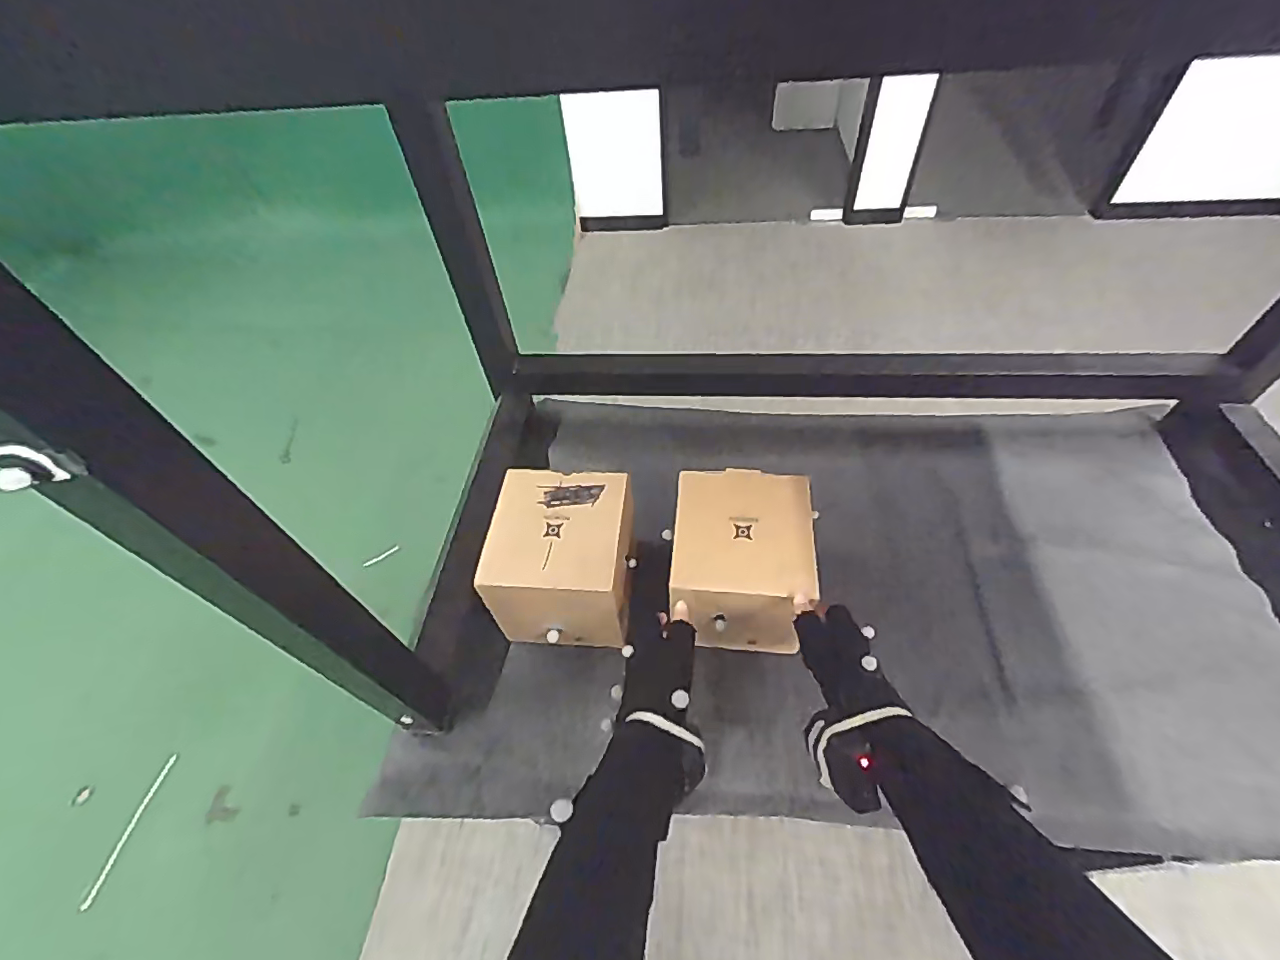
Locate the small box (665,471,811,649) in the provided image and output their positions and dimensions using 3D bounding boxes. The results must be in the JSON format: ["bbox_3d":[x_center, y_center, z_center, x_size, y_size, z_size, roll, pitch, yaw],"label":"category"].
[{"bbox_3d":[0.126,0.109,0.720,0.168,0.176,0.179,3,50,7],"label":"small box"}]

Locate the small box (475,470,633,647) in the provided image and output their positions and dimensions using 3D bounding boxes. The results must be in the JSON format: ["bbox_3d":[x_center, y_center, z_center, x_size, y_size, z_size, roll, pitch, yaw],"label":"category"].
[{"bbox_3d":[-0.101,0.107,0.738,0.168,0.176,0.179,2,51,6],"label":"small box"}]
